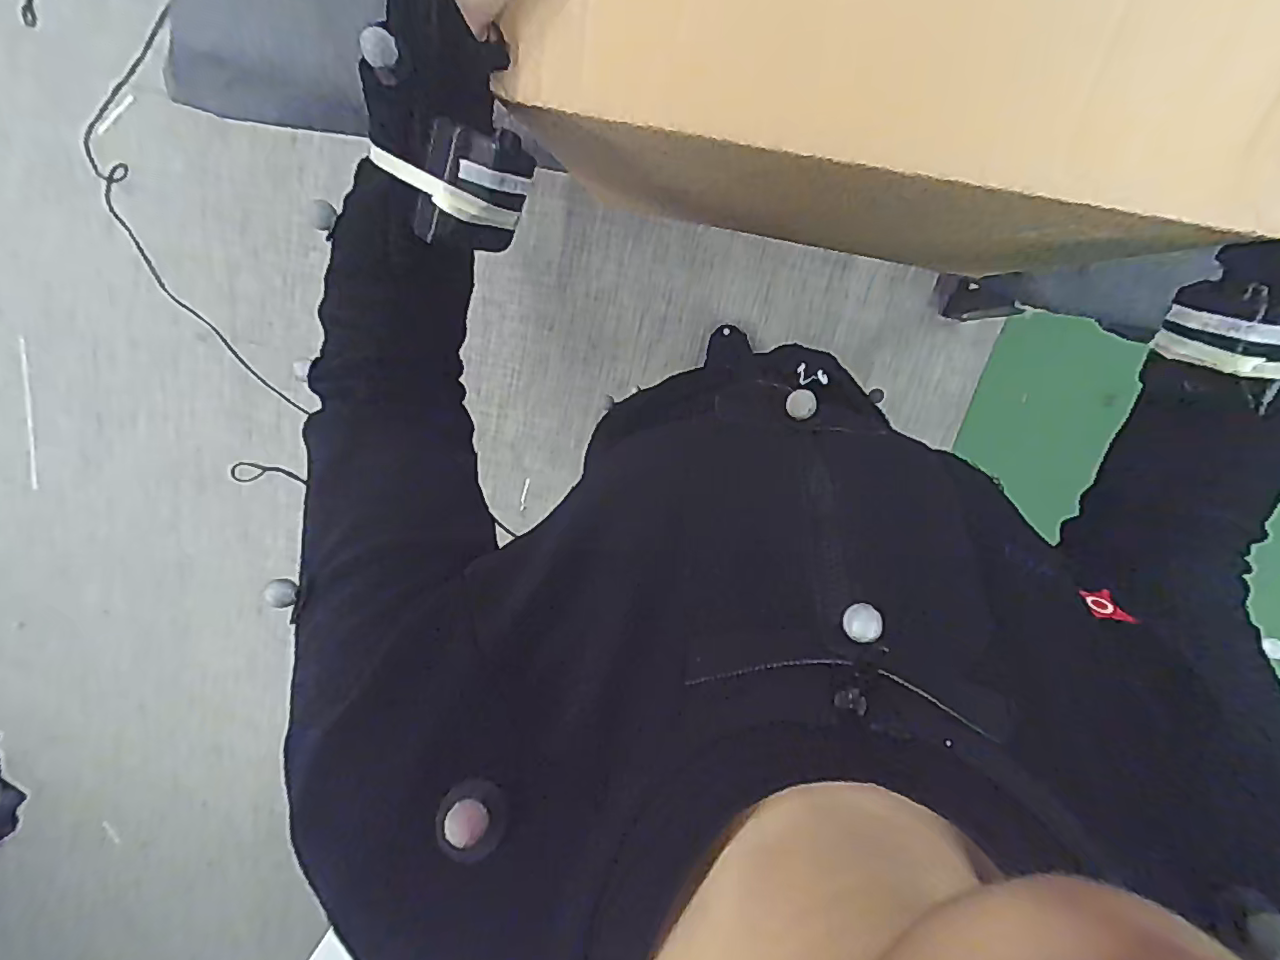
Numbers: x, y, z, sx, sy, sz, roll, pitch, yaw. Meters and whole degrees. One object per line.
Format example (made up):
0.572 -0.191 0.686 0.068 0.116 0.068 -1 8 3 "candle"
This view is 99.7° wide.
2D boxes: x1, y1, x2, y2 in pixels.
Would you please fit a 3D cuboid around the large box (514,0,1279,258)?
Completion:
0.162 -0.360 0.373 0.408 0.320 0.320 11 109 2 "large box"
